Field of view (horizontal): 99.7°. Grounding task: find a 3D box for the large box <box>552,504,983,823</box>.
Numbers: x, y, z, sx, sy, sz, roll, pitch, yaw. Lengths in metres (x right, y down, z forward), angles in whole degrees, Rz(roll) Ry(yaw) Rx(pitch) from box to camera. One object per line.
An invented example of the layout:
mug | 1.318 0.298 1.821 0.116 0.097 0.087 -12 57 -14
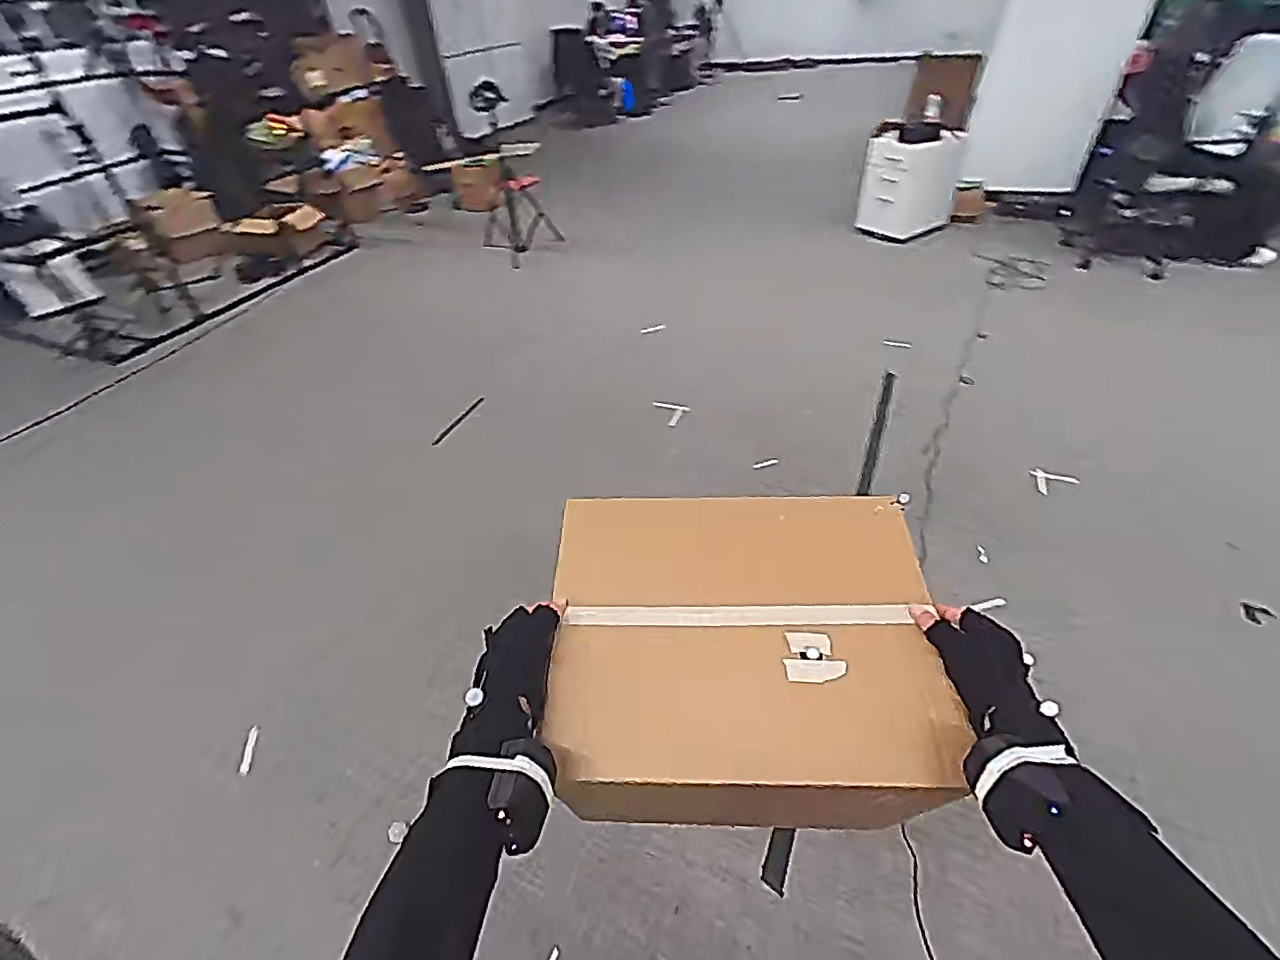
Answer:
large box | 0.122 0.245 0.702 0.408 0.320 0.320 0 52 3
